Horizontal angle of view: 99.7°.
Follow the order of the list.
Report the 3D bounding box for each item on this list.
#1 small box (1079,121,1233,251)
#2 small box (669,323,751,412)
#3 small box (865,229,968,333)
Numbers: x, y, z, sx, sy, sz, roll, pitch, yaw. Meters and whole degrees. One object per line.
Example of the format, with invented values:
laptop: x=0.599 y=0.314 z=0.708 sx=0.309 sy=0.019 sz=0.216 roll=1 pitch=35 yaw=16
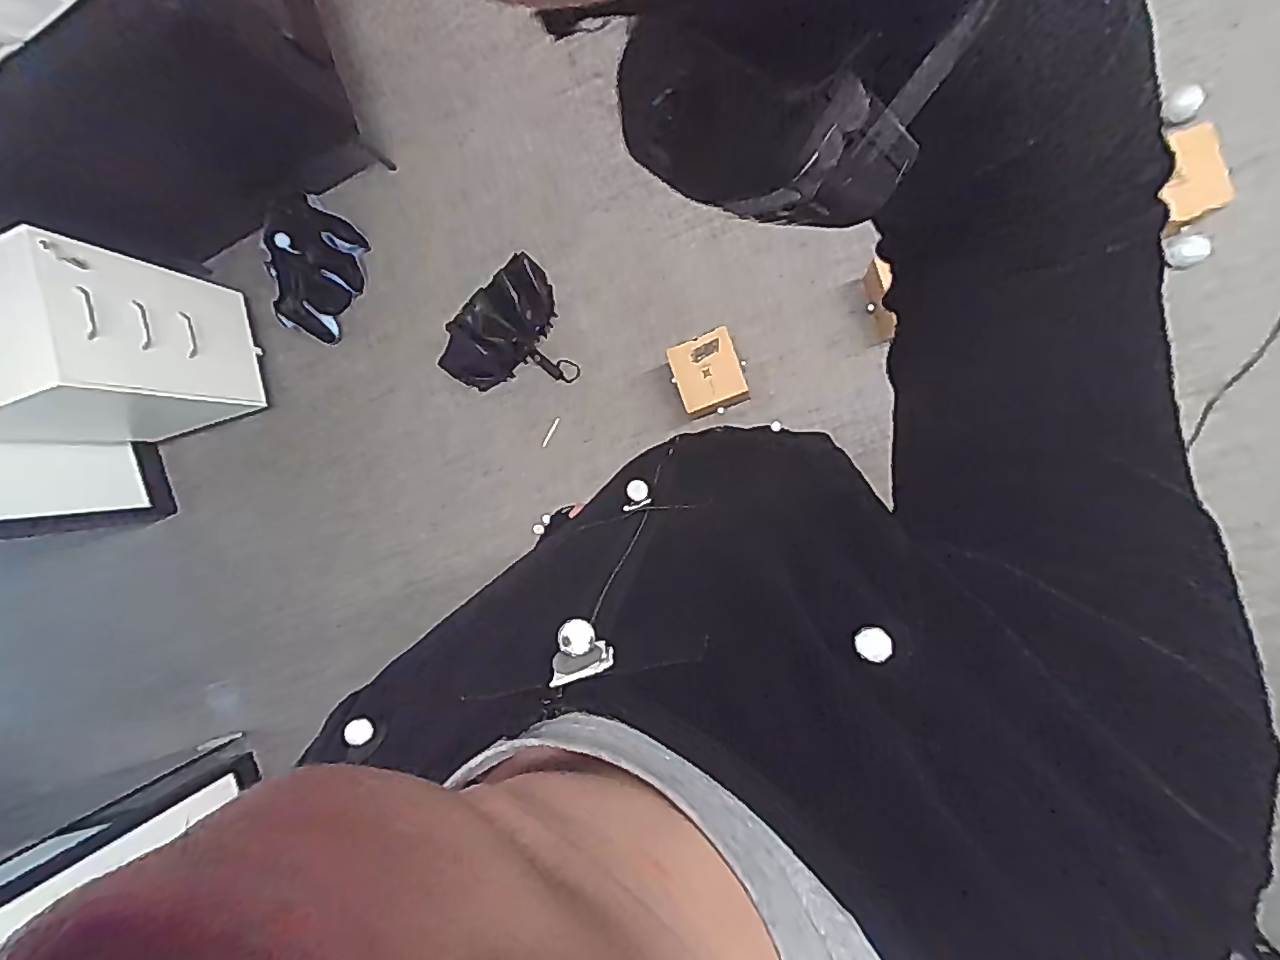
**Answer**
small box: x=1.124 y=-0.631 z=1.194 sx=0.168 sy=0.176 sz=0.179 roll=-17 pitch=87 yaw=14
small box: x=0.193 y=-0.294 z=1.452 sx=0.168 sy=0.176 sz=0.179 roll=-19 pitch=89 yaw=15
small box: x=0.667 y=-0.472 z=1.321 sx=0.168 sy=0.176 sz=0.179 roll=-16 pitch=89 yaw=15
